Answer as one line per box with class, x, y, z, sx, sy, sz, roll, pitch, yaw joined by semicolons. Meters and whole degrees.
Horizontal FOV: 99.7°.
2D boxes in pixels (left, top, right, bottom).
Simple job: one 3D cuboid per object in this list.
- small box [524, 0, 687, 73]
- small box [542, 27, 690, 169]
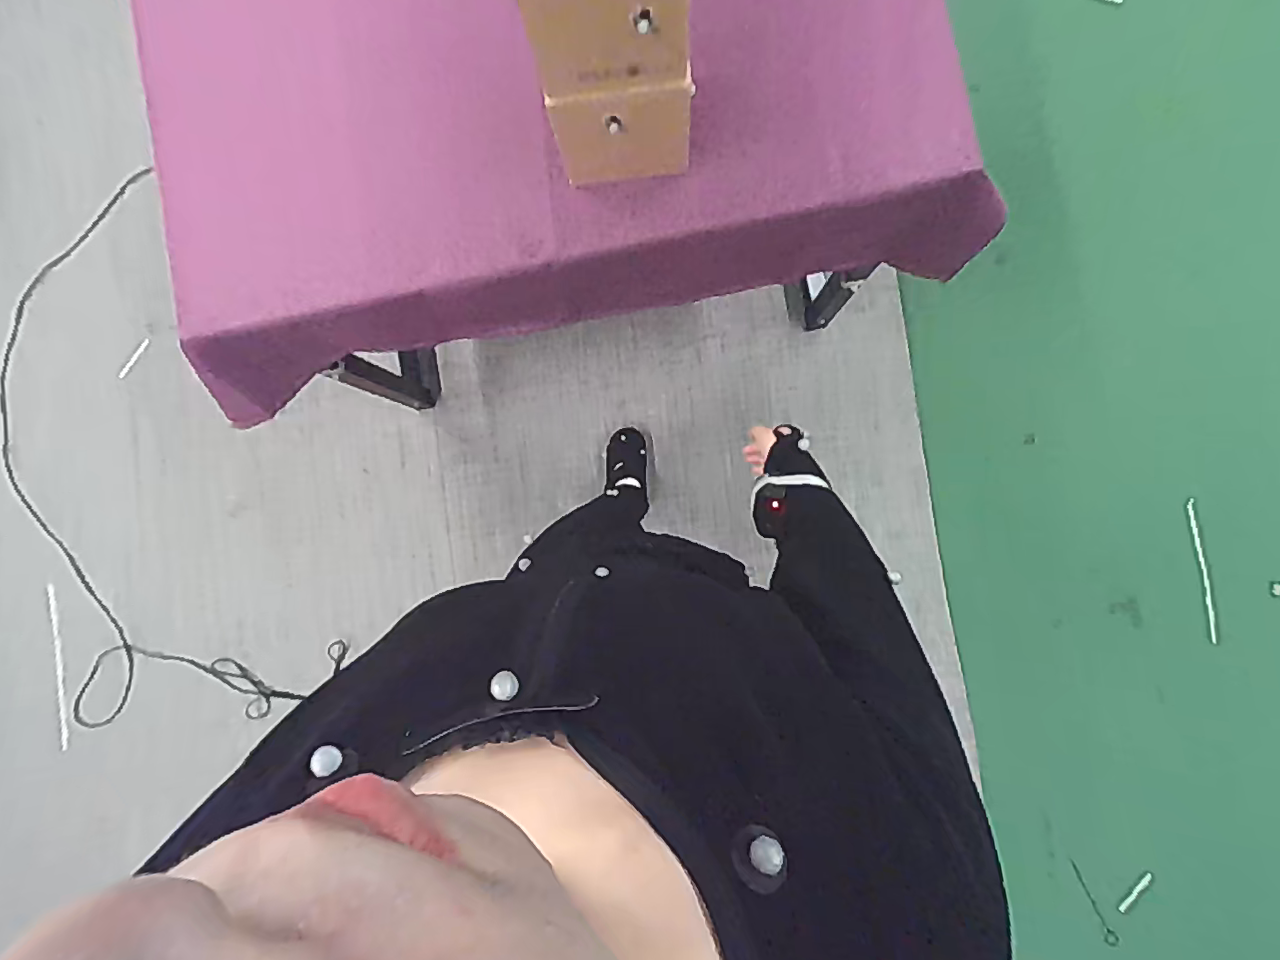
small box;-0.037;-0.558;0.554;0.168;0.176;0.179;-4;87;3
small box;-0.026;-0.542;0.716;0.179;0.176;0.168;-4;88;4
